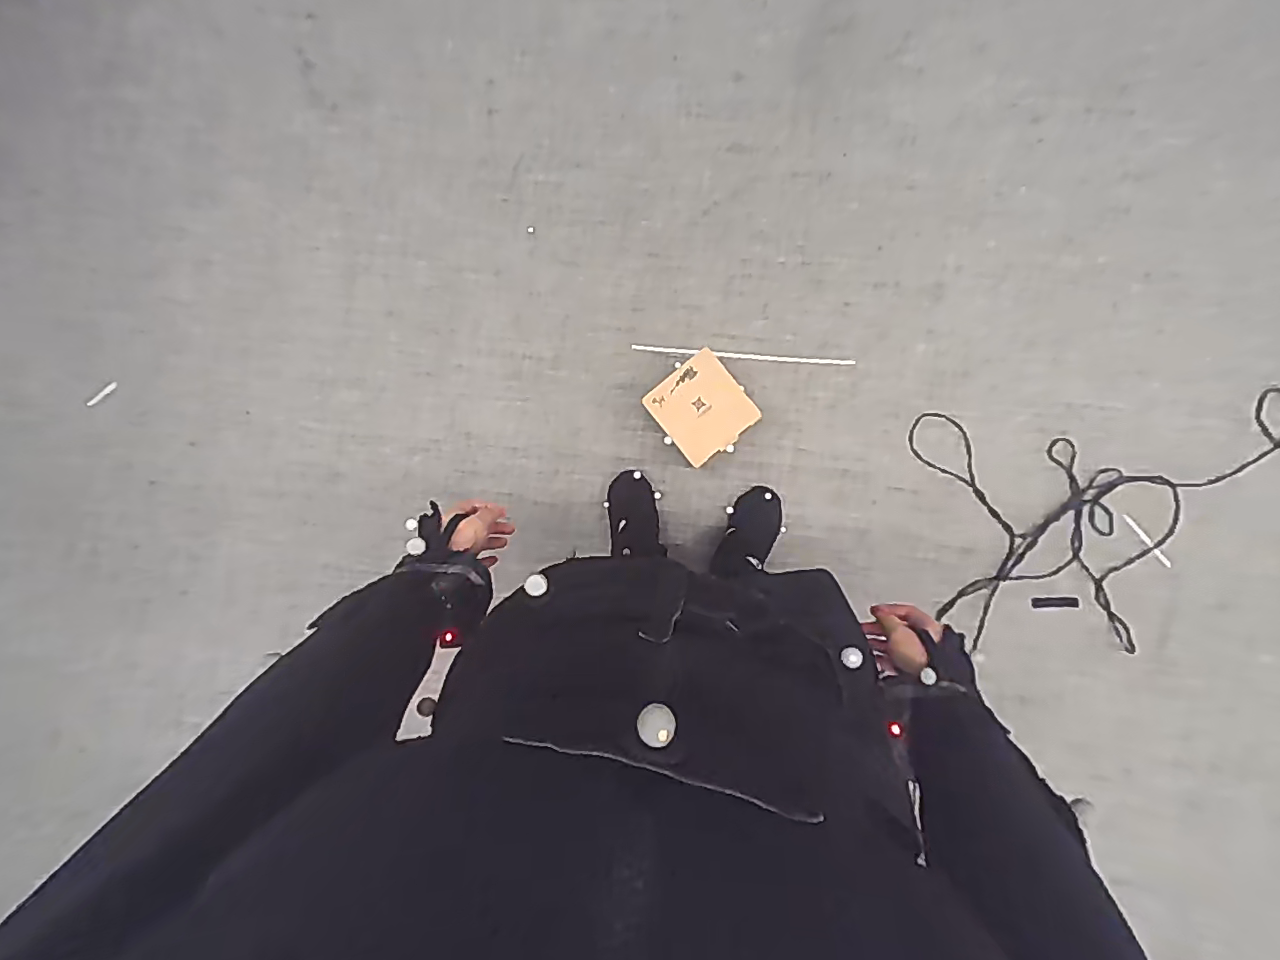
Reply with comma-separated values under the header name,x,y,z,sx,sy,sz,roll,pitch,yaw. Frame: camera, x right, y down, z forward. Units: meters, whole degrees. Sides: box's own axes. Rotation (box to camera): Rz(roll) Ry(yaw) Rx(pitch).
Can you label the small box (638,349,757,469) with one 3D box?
name,x,y,z,sx,sy,sz,roll,pitch,yaw
small box,0.118,-0.142,1.116,0.168,0.176,0.179,-39,89,6
